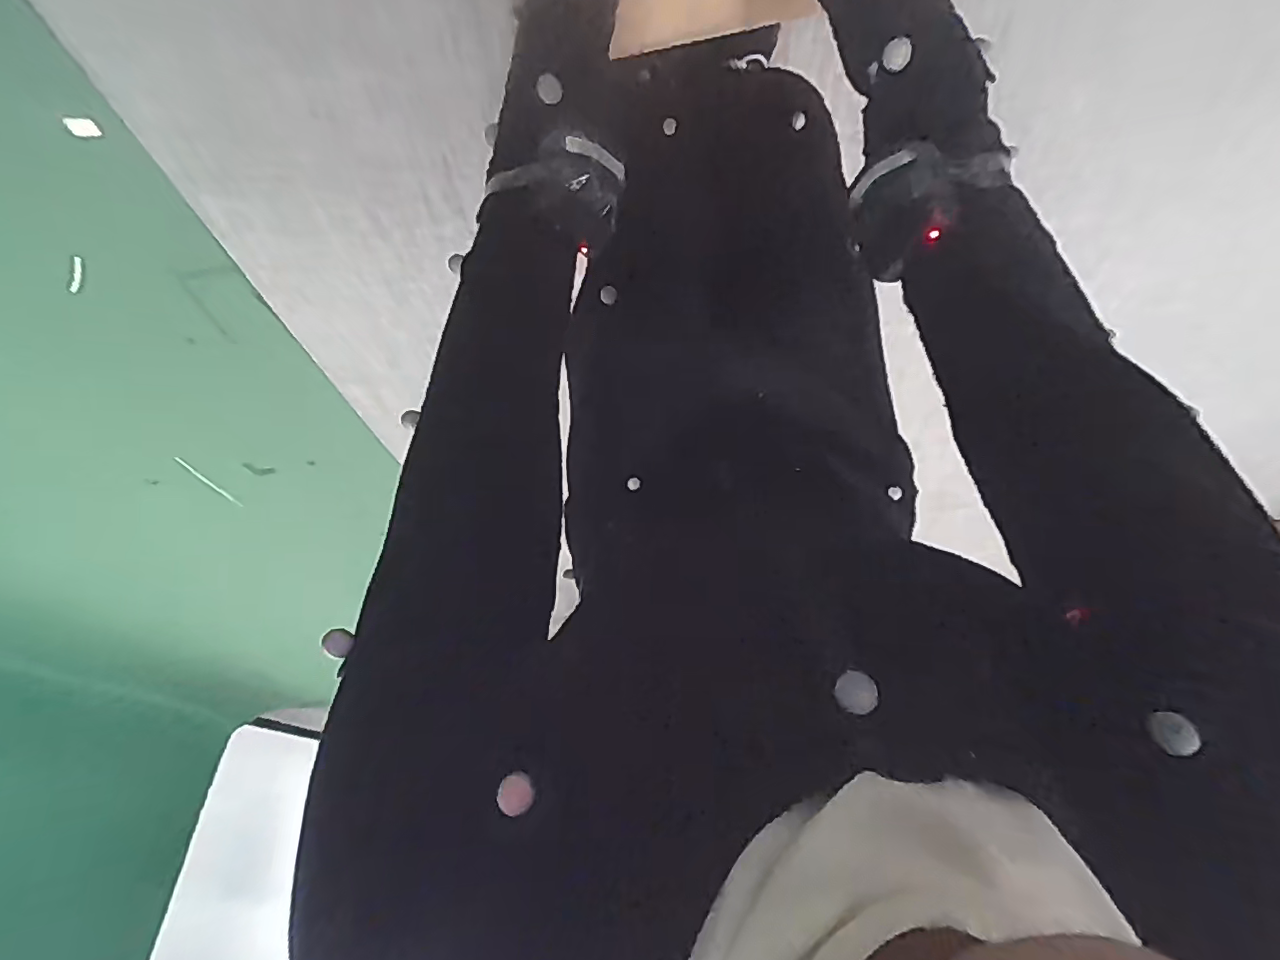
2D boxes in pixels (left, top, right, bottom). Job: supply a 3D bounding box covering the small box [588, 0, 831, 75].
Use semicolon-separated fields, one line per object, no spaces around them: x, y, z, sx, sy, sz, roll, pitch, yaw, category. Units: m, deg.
0.040;-0.438;0.400;0.179;0.176;0.168;-7;140;7;small box
